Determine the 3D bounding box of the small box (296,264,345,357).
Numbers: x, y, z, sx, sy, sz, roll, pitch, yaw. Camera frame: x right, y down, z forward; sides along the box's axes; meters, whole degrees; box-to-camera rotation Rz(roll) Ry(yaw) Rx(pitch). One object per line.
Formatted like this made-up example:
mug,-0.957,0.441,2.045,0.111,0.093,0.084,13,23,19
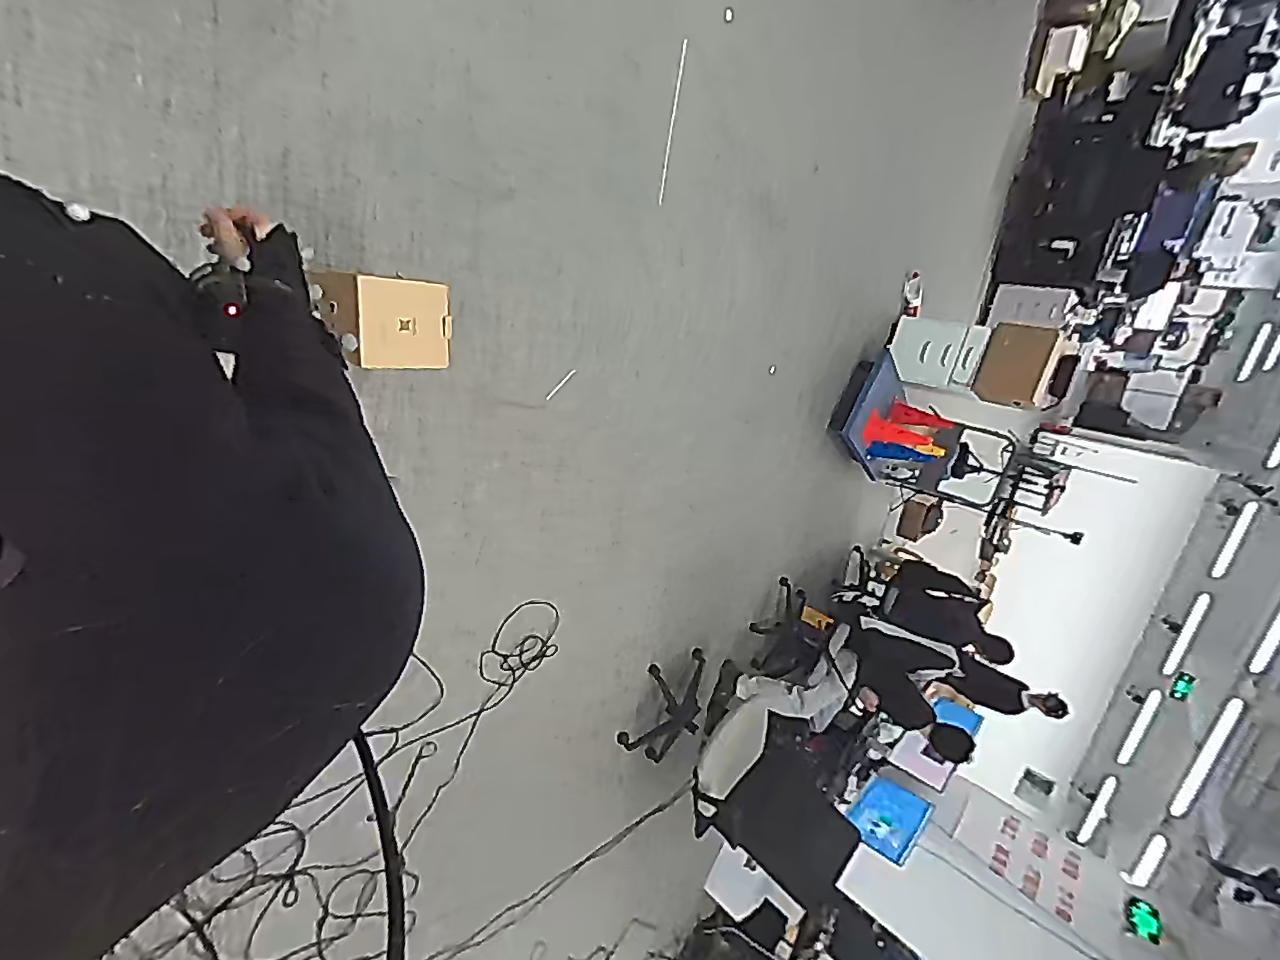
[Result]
small box,-0.629,-0.368,1.179,0.168,0.176,0.179,-13,117,-45

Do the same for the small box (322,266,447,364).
small box,-0.506,-0.328,1.078,0.179,0.176,0.168,-13,116,-45
